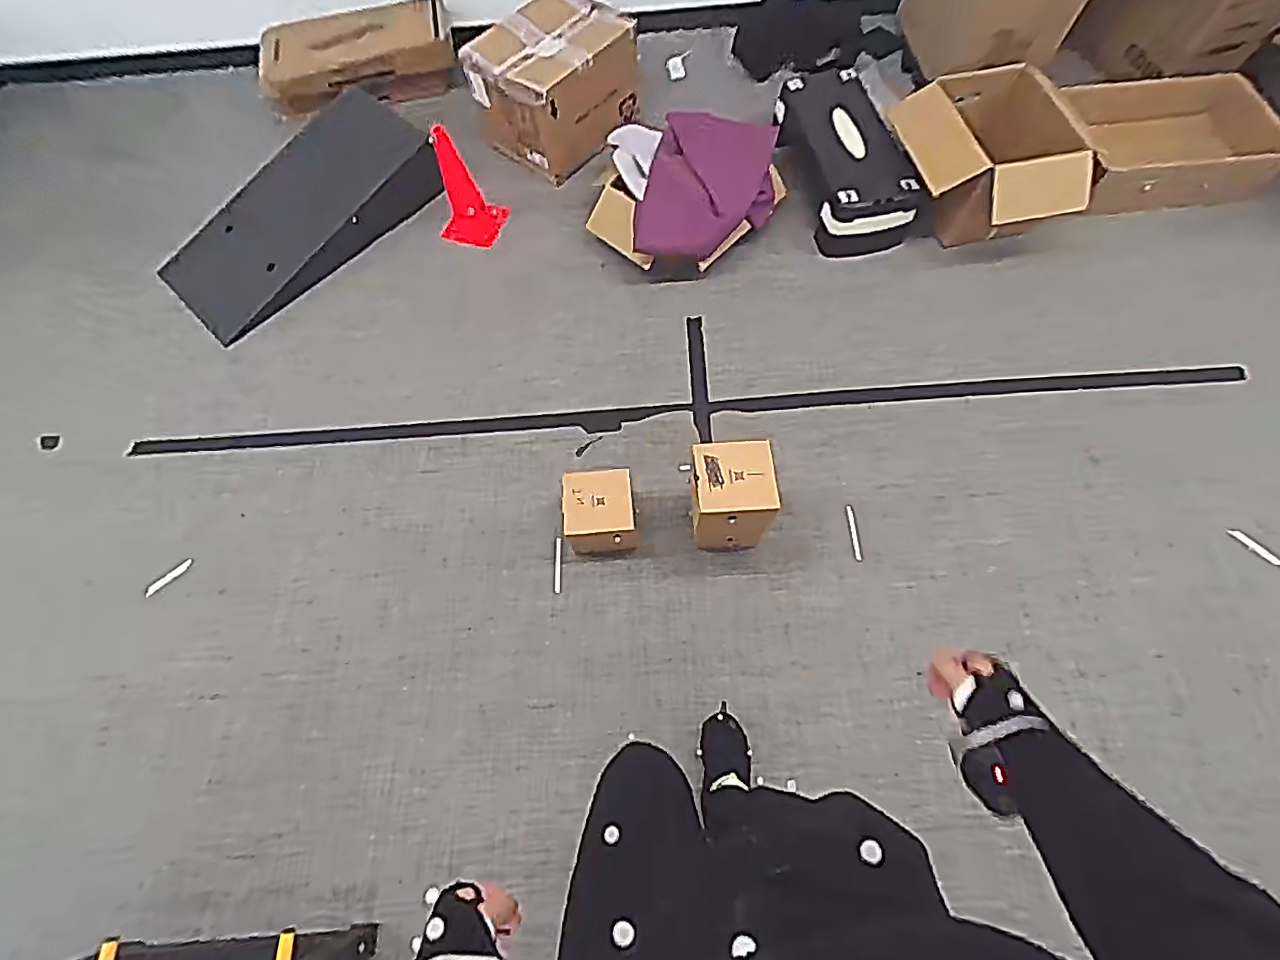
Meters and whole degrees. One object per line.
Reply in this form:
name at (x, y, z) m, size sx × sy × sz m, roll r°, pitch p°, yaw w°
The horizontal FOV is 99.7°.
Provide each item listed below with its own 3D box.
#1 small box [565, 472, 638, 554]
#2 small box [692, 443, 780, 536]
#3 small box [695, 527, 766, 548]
small box at (-0.098, 0.090, 1.420) m, size 0.179 × 0.176 × 0.168 m, roll -5°, pitch 67°, yaw 1°
small box at (0.213, 0.028, 1.253) m, size 0.179 × 0.176 × 0.168 m, roll -3°, pitch 67°, yaw 1°
small box at (0.230, 0.077, 1.412) m, size 0.168 × 0.176 × 0.179 m, roll -1°, pitch 68°, yaw 2°
